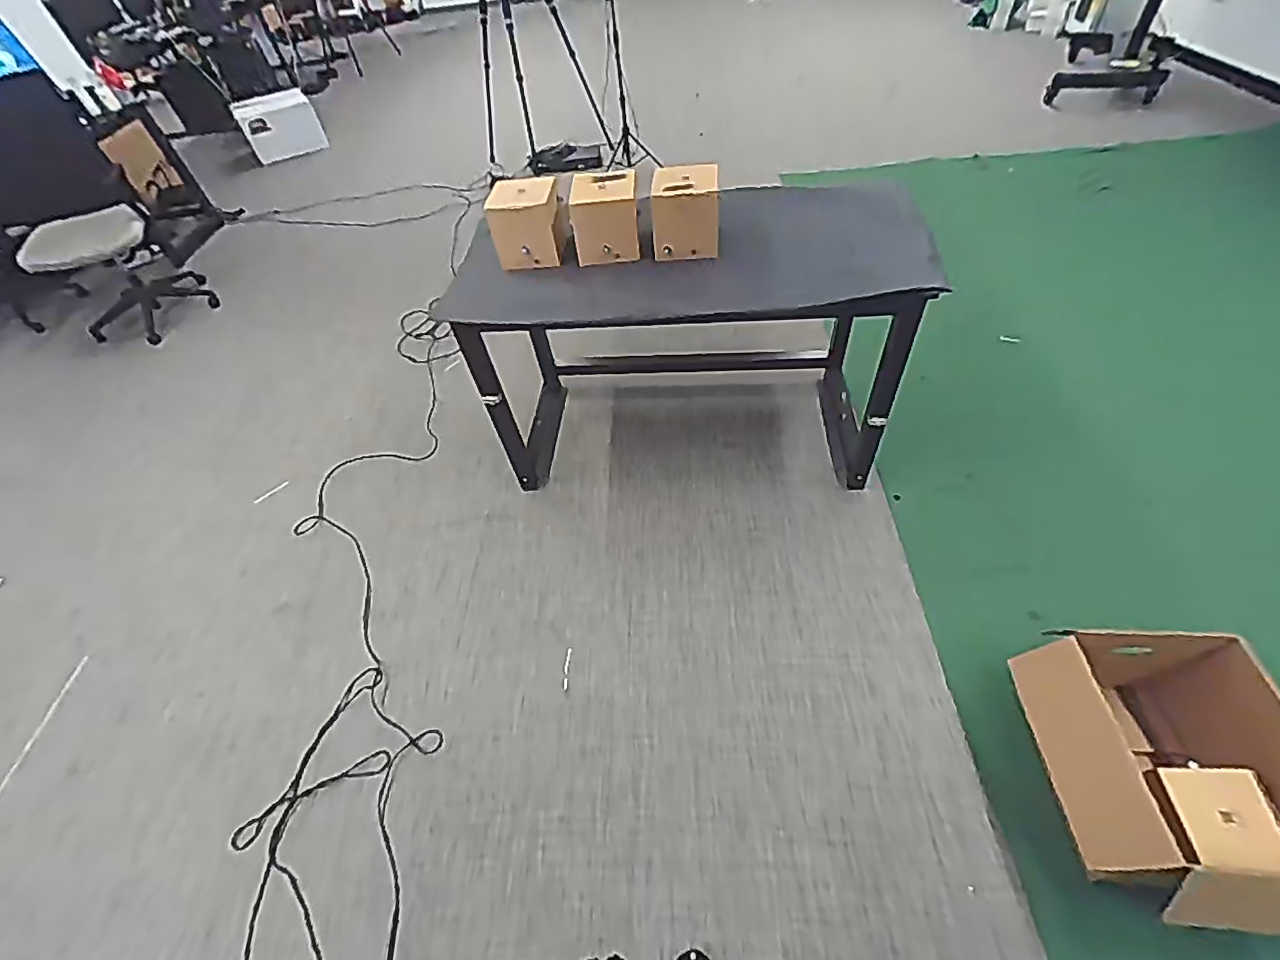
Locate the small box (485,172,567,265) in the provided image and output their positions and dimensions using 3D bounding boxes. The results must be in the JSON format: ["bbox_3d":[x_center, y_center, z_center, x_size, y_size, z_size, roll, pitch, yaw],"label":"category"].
[{"bbox_3d":[-0.299,-0.705,1.462,0.168,0.176,0.179,-2,51,6],"label":"small box"}]
